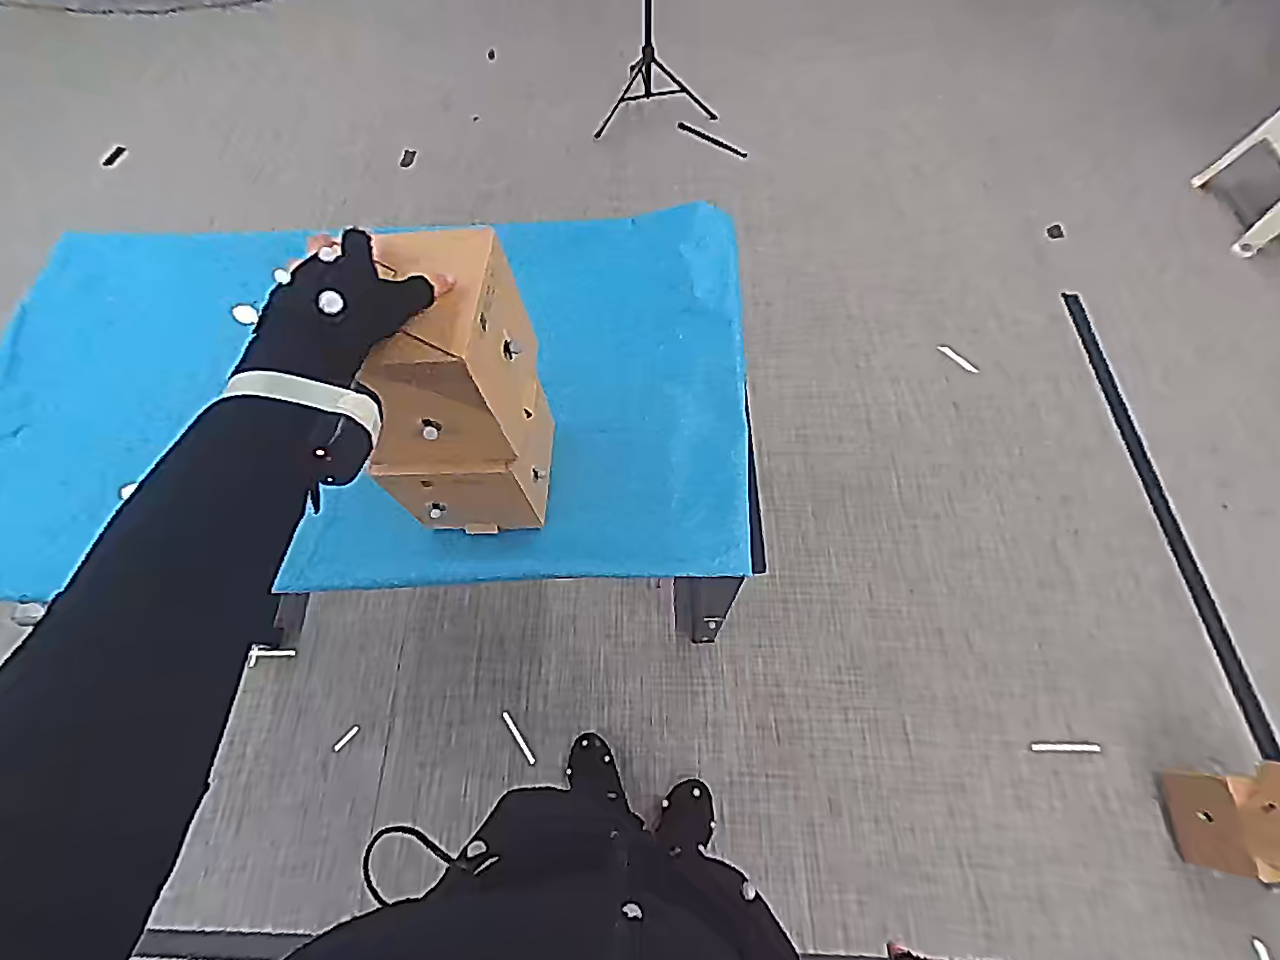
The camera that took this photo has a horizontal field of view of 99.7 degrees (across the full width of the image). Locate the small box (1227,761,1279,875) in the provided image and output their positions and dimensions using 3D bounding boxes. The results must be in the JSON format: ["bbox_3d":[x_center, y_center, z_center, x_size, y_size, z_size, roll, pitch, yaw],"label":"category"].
[{"bbox_3d":[1.228,0.630,0.959,0.168,0.176,0.179,34,71,16],"label":"small box"}]

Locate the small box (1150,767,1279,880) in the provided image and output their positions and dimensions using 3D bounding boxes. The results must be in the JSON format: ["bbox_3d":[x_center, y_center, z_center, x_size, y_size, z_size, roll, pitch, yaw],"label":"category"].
[{"bbox_3d":[1.222,0.699,1.112,0.168,0.176,0.179,1,65,2],"label":"small box"}]

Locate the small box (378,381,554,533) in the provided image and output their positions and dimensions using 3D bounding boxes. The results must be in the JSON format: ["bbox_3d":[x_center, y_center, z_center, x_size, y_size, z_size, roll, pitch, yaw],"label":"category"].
[{"bbox_3d":[-0.215,-0.044,0.708,0.168,0.176,0.179,-1,63,3],"label":"small box"}]

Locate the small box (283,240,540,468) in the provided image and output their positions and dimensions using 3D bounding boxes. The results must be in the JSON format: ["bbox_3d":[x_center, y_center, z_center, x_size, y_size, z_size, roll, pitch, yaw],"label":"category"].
[{"bbox_3d":[-0.219,-0.126,0.566,0.179,0.176,0.168,-1,61,6],"label":"small box"}]
